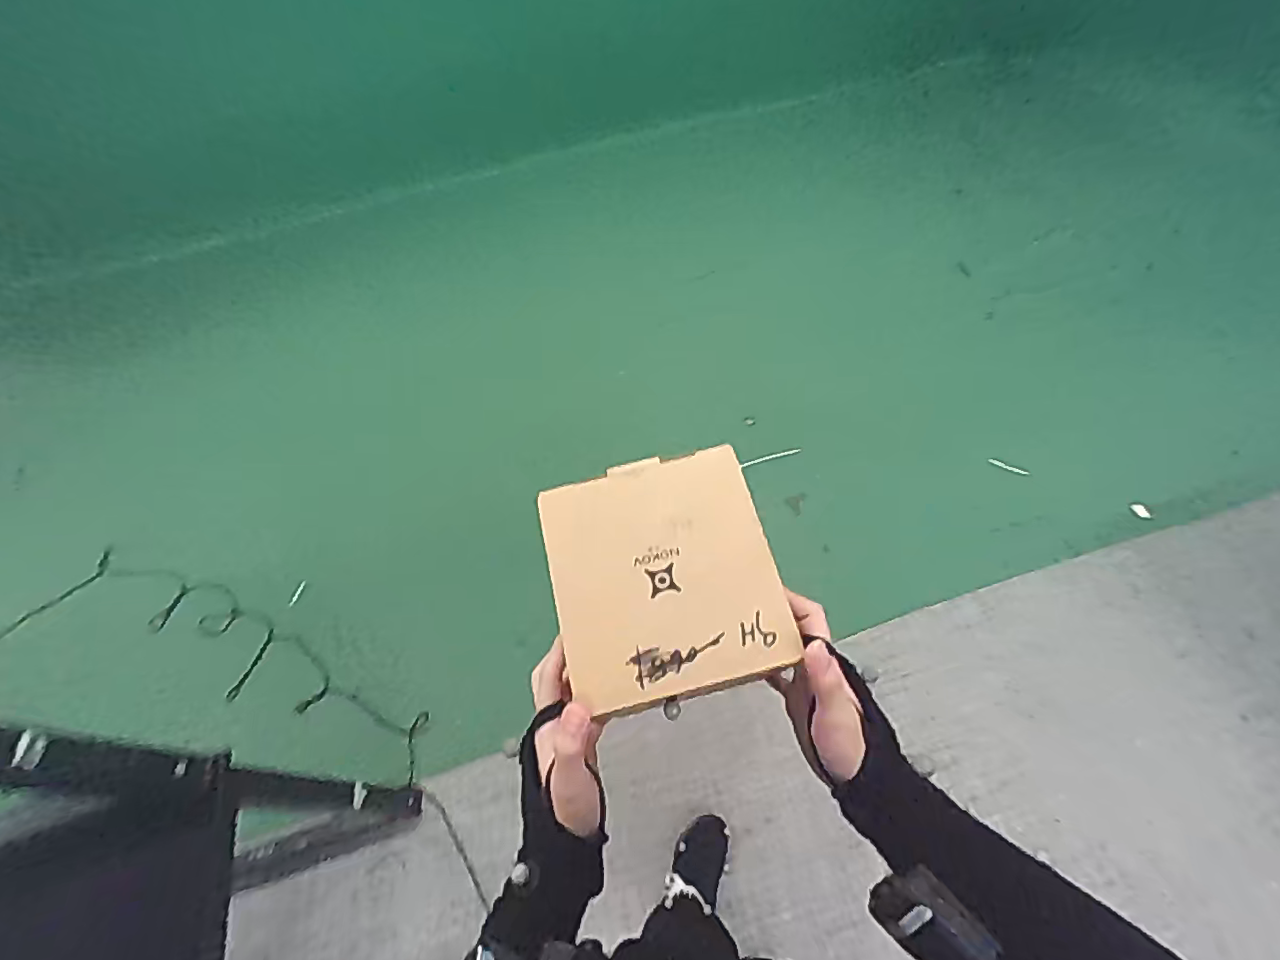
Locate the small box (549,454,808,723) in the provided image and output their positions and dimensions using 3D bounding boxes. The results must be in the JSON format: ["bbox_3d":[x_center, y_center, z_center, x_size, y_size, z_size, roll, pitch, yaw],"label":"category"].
[{"bbox_3d":[0.028,0.105,0.480,0.168,0.176,0.179,-14,64,0],"label":"small box"}]
